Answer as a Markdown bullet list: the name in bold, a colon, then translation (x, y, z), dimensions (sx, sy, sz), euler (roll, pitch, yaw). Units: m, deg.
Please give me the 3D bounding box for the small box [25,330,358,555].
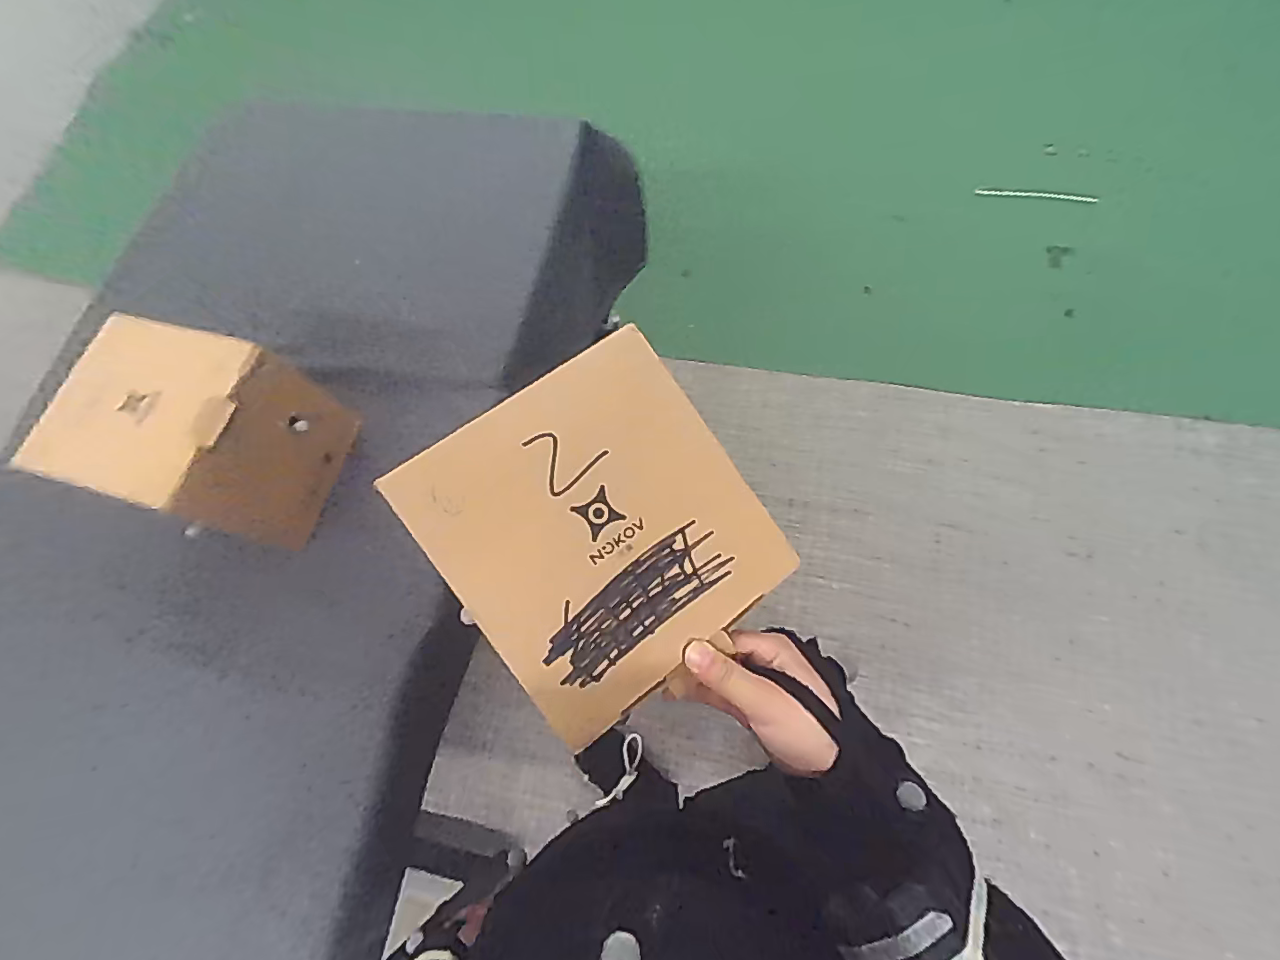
- **small box**: translation (-0.441, -0.029, 0.568), dimensions (0.179, 0.176, 0.168), euler (12, 71, 12)
